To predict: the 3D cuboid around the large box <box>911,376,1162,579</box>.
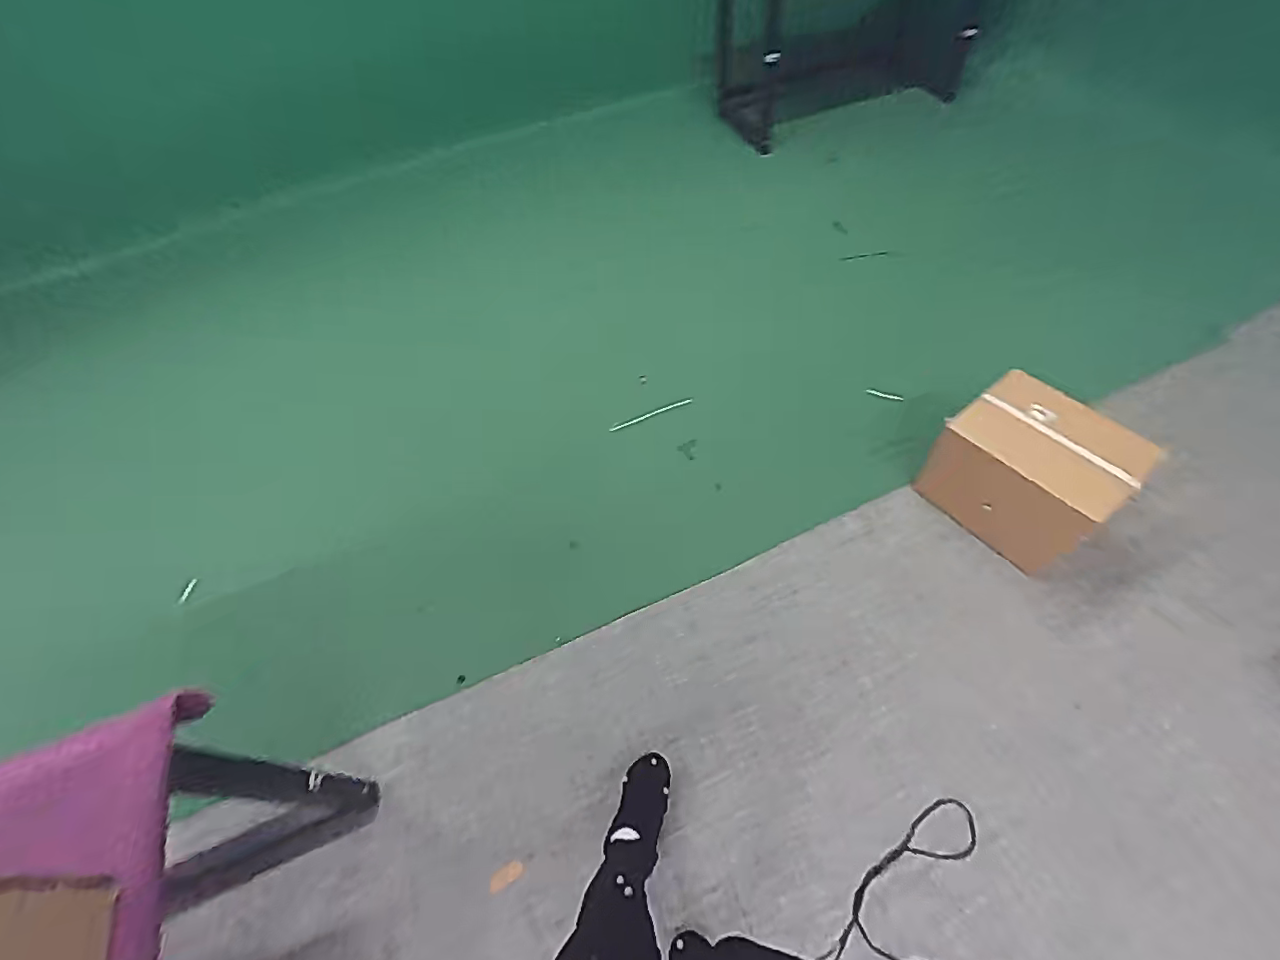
[{"bbox_3d":[1.058,-0.007,1.498,0.320,0.320,0.408,-34,57,-17],"label":"large box"}]
